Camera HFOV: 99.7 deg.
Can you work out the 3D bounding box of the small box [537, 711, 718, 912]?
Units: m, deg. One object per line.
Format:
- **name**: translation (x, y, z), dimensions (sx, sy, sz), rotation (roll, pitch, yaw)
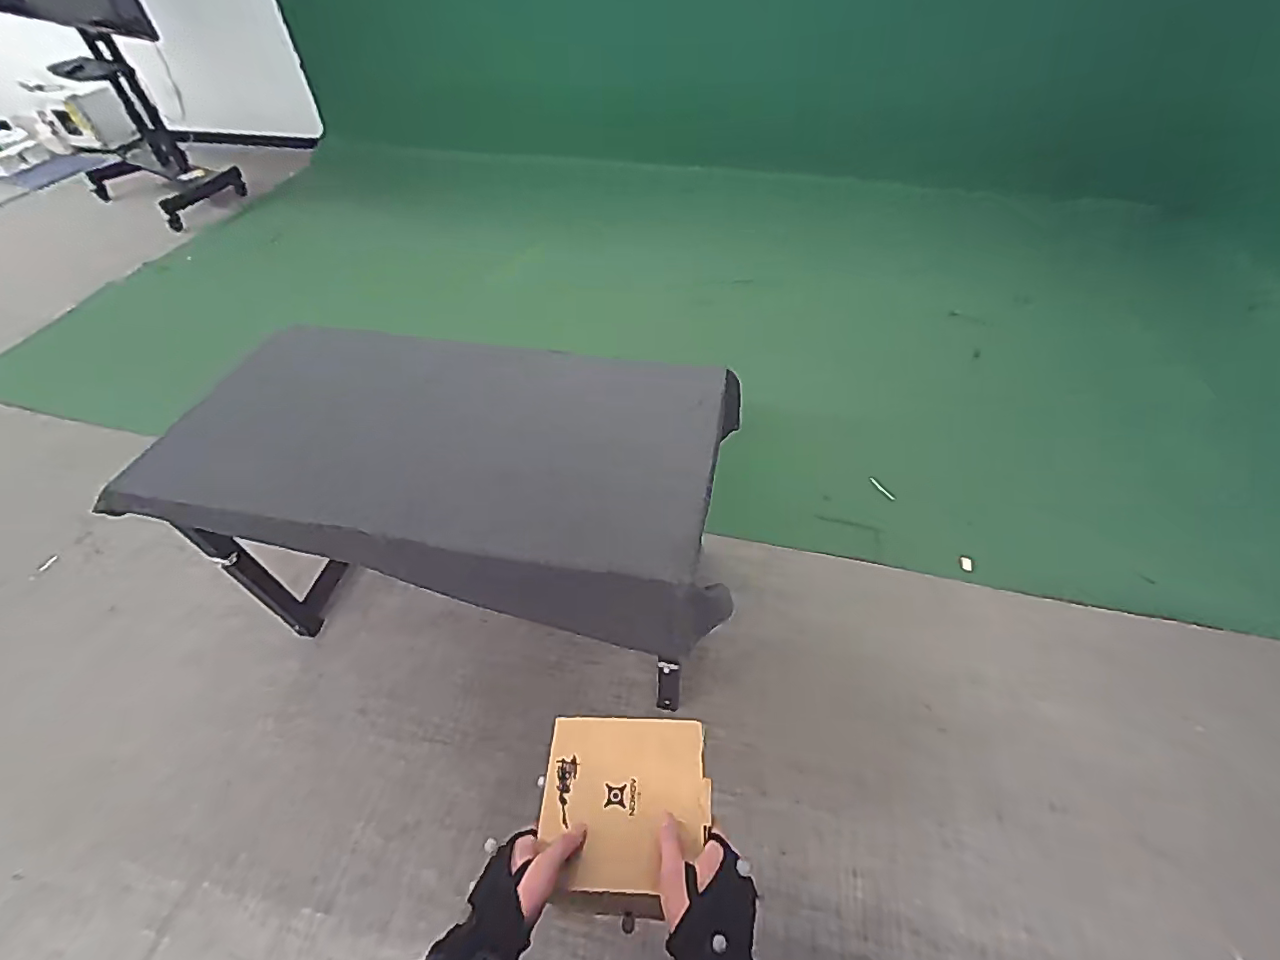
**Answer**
- **small box**: translation (-0.006, 0.386, 0.627), dimensions (0.179, 0.176, 0.168), rotation (1, 46, 4)
